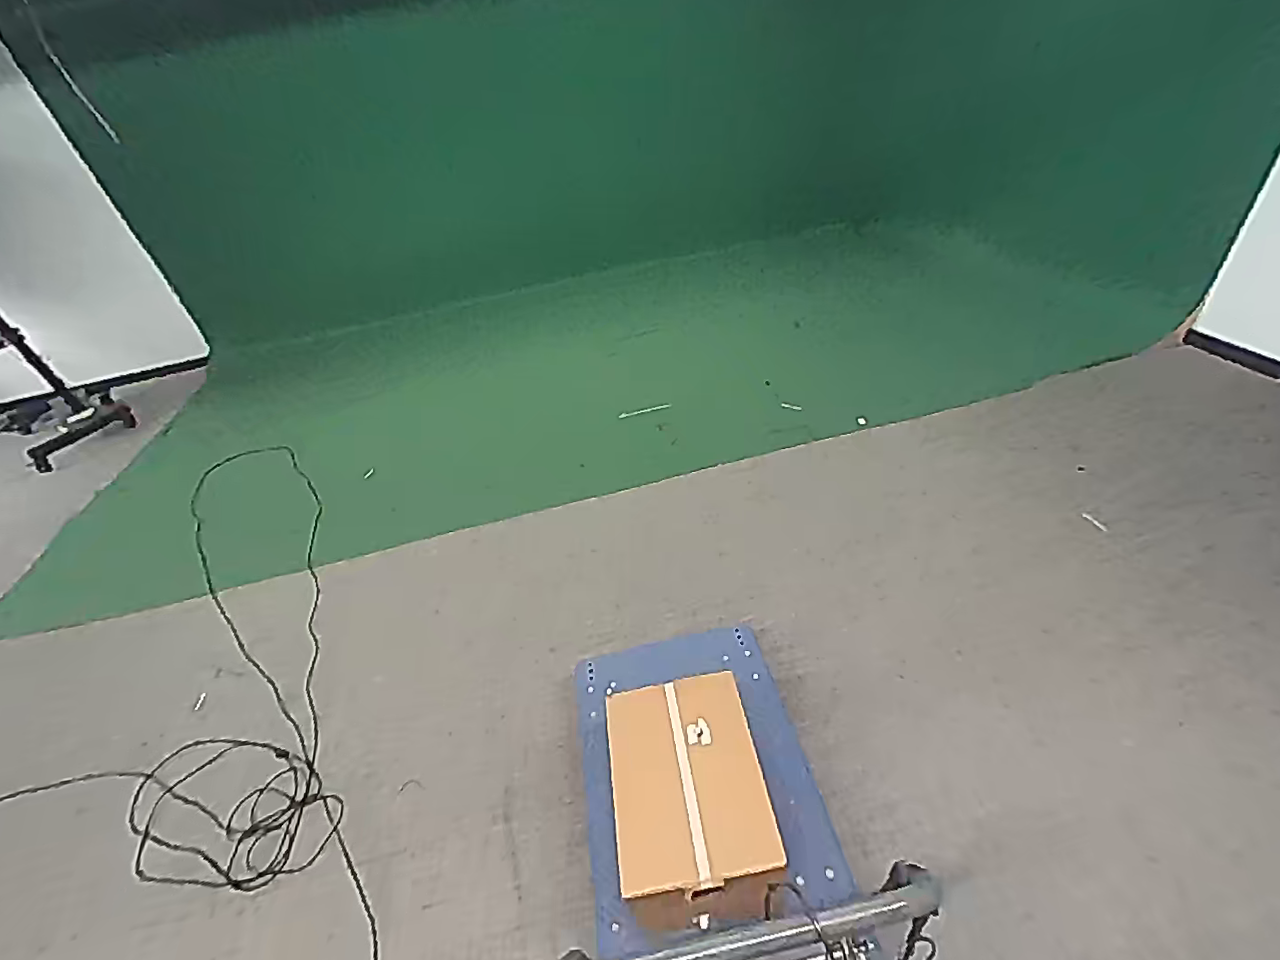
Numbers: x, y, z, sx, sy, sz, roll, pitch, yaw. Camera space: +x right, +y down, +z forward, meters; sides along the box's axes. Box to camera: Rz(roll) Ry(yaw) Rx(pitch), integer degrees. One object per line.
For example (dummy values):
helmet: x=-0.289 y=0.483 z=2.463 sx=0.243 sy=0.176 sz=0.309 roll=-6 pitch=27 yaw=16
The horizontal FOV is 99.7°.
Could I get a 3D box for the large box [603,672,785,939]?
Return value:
large box: x=0.112 y=0.721 z=1.221 sx=0.320 sy=0.320 sz=0.408 roll=-11 pitch=38 yaw=-1
